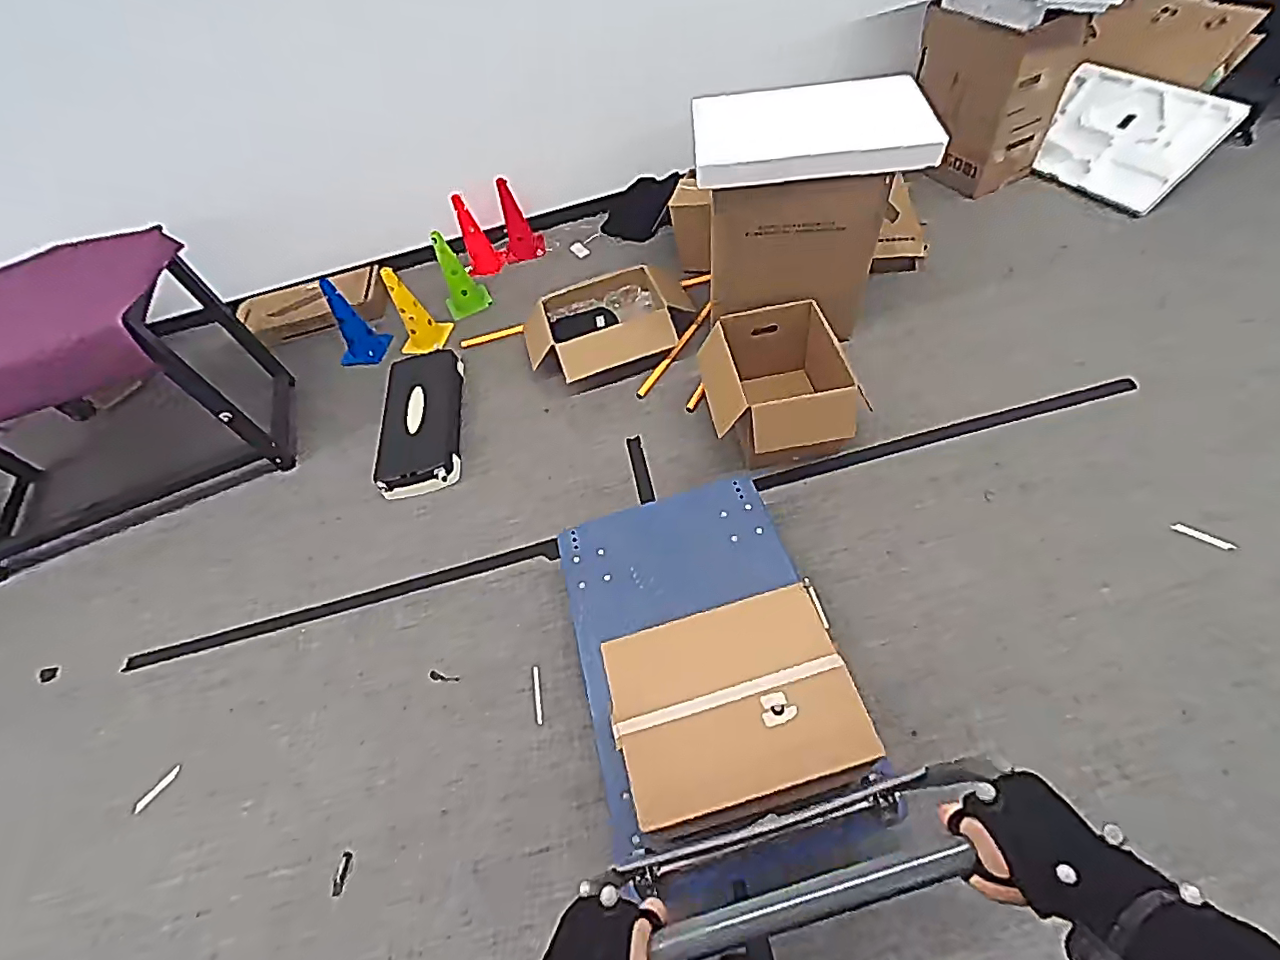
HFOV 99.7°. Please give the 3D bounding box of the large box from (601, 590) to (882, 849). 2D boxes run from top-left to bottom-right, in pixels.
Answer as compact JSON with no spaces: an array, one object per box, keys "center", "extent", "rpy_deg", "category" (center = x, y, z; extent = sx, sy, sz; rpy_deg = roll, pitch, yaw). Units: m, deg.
[{"center":[0.173,0.468,1.041],"extent":[0.408,0.320,0.320],"rpy_deg":[-16,54,-3],"category":"large box"}]
